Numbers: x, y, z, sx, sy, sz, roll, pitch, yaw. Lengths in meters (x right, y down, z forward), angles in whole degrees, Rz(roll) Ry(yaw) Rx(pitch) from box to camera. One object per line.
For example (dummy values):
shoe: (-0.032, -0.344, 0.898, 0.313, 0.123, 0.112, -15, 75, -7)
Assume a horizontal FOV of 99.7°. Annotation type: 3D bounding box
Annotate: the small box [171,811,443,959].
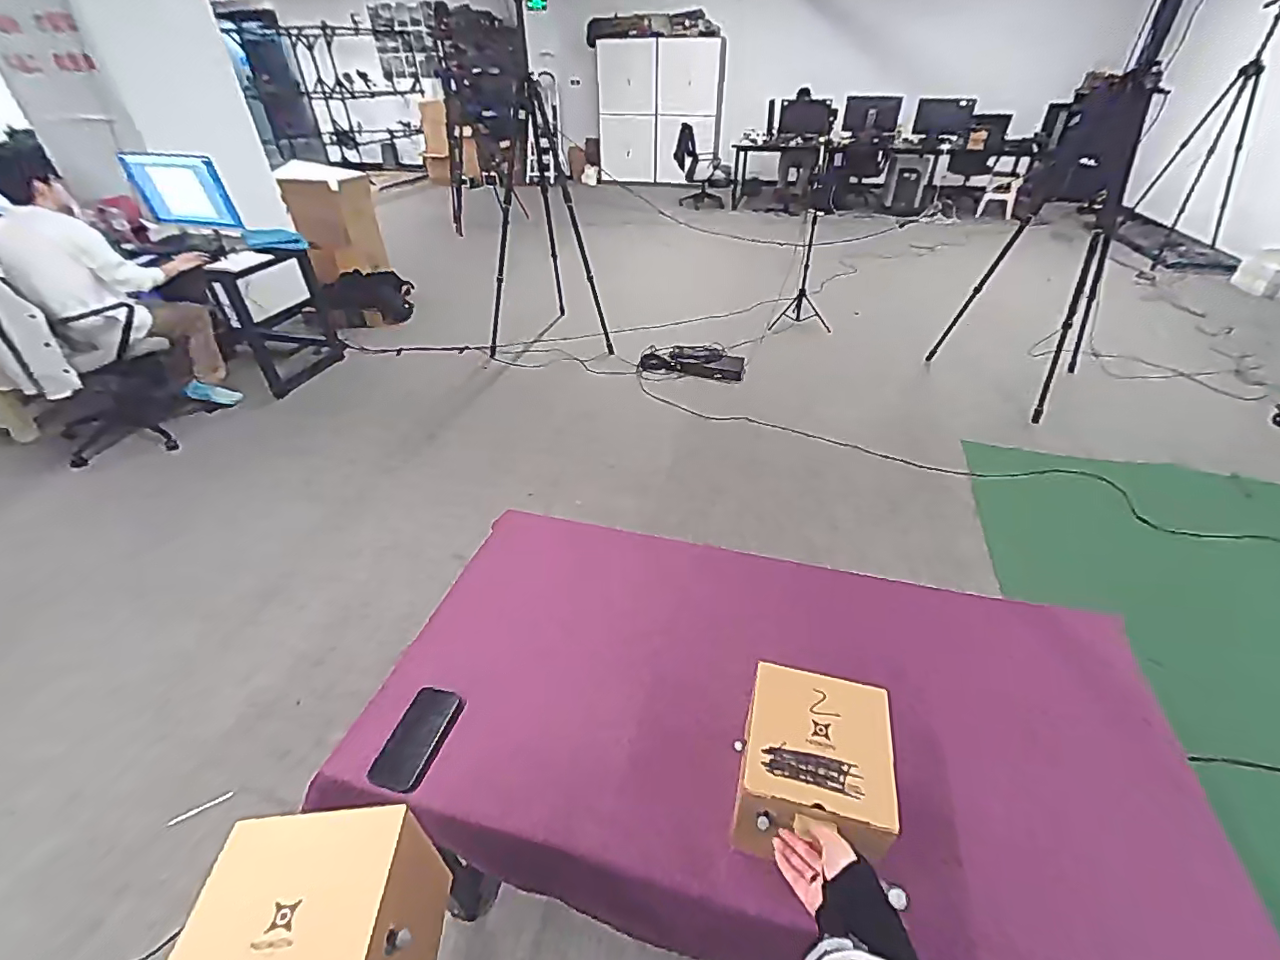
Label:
small box: (-0.297, 0.443, 0.502, 0.168, 0.176, 0.179, -5, 35, -1)
